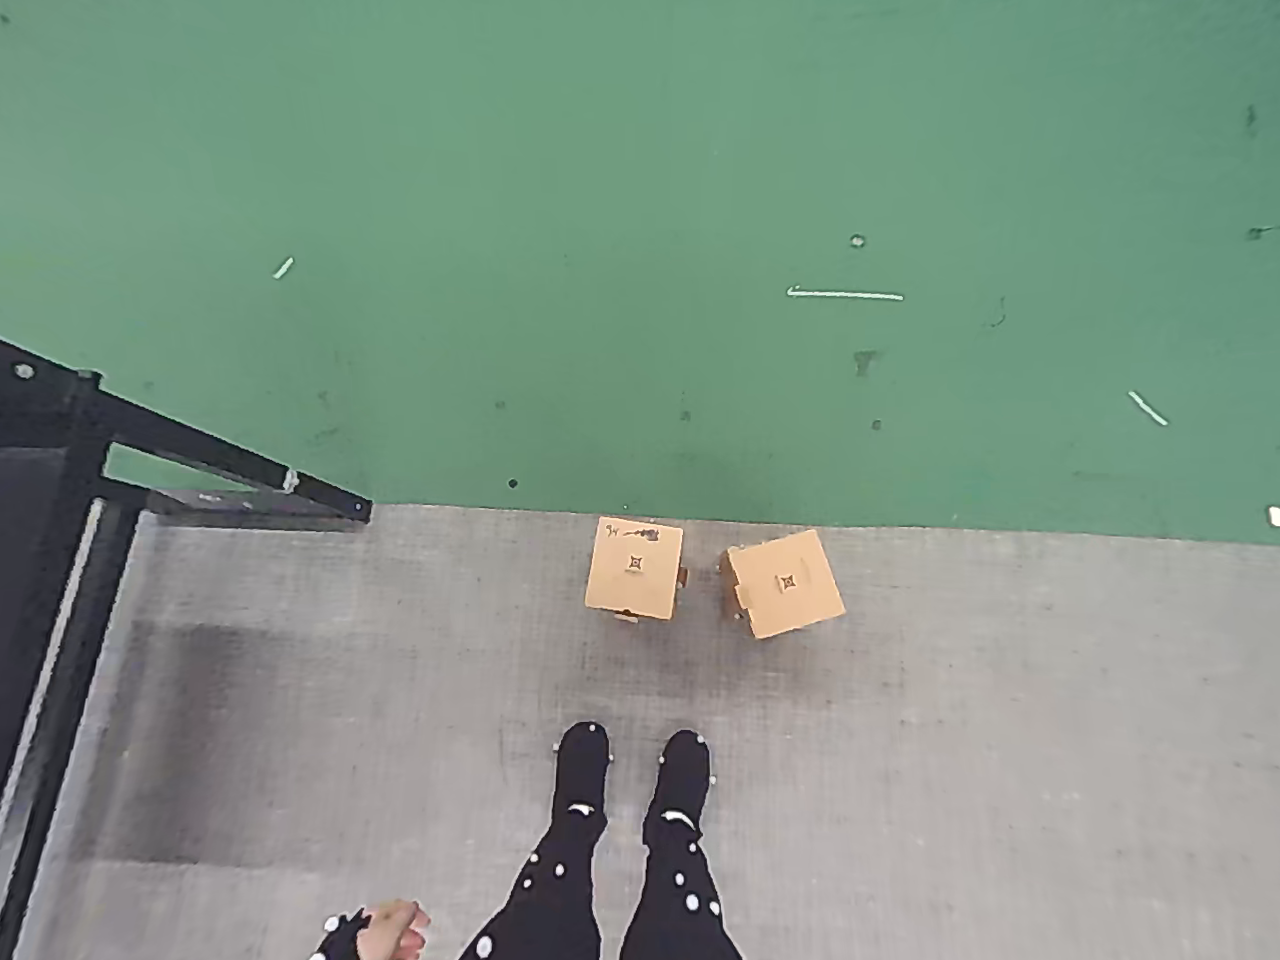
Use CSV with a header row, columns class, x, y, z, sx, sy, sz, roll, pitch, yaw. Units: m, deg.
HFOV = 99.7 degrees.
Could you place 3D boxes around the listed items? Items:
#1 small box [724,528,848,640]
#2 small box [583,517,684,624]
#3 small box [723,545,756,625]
class,x,y,z,sx,sy,sz,roll,pitch,yaw
small box,0.272,0.207,1.061,0.179,0.176,0.168,-17,77,-3
small box,-0.005,0.184,1.075,0.168,0.176,0.179,8,76,5
small box,0.286,0.237,1.220,0.179,0.176,0.168,-4,76,0
